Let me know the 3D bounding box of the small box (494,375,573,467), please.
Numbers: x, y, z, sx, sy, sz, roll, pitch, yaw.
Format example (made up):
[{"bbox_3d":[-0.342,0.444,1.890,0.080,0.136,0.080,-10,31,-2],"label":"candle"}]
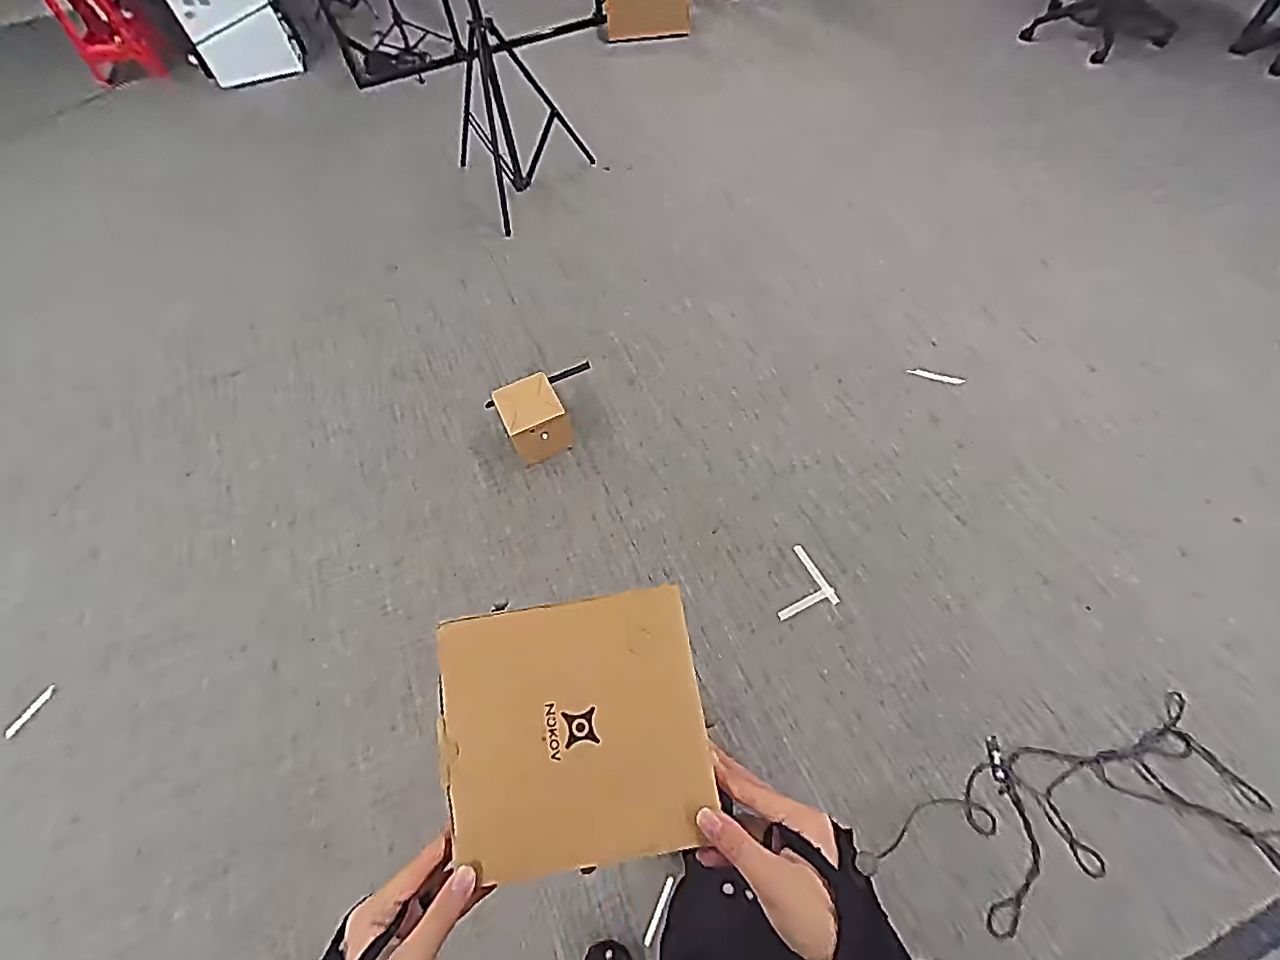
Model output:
[{"bbox_3d":[-0.314,-0.177,1.589,0.168,0.176,0.179,-25,61,-10],"label":"small box"}]

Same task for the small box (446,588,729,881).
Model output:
[{"bbox_3d":[-0.039,0.183,0.442,0.179,0.176,0.168,-10,76,-1],"label":"small box"}]
